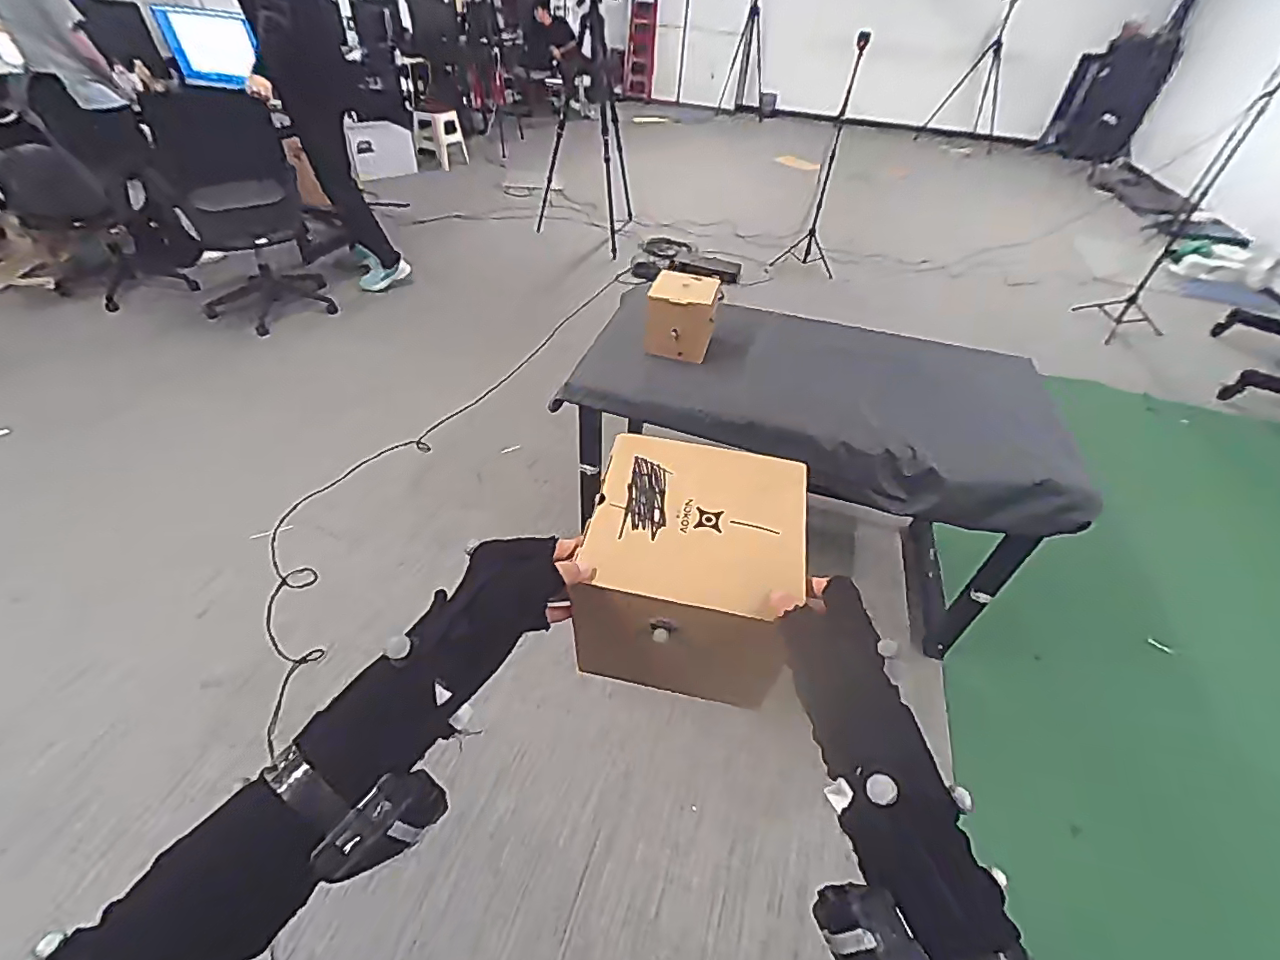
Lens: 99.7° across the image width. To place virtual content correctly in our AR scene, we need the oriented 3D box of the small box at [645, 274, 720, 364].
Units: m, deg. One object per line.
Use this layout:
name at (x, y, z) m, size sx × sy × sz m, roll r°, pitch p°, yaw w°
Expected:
small box at (0.113, -0.436, 1.471) m, size 0.168 × 0.176 × 0.179 m, roll 13°, pitch 44°, yaw 9°

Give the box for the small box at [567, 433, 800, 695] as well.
small box at (0.043, 0.082, 0.510) m, size 0.179 × 0.176 × 0.168 m, roll 10°, pitch 49°, yaw 7°
